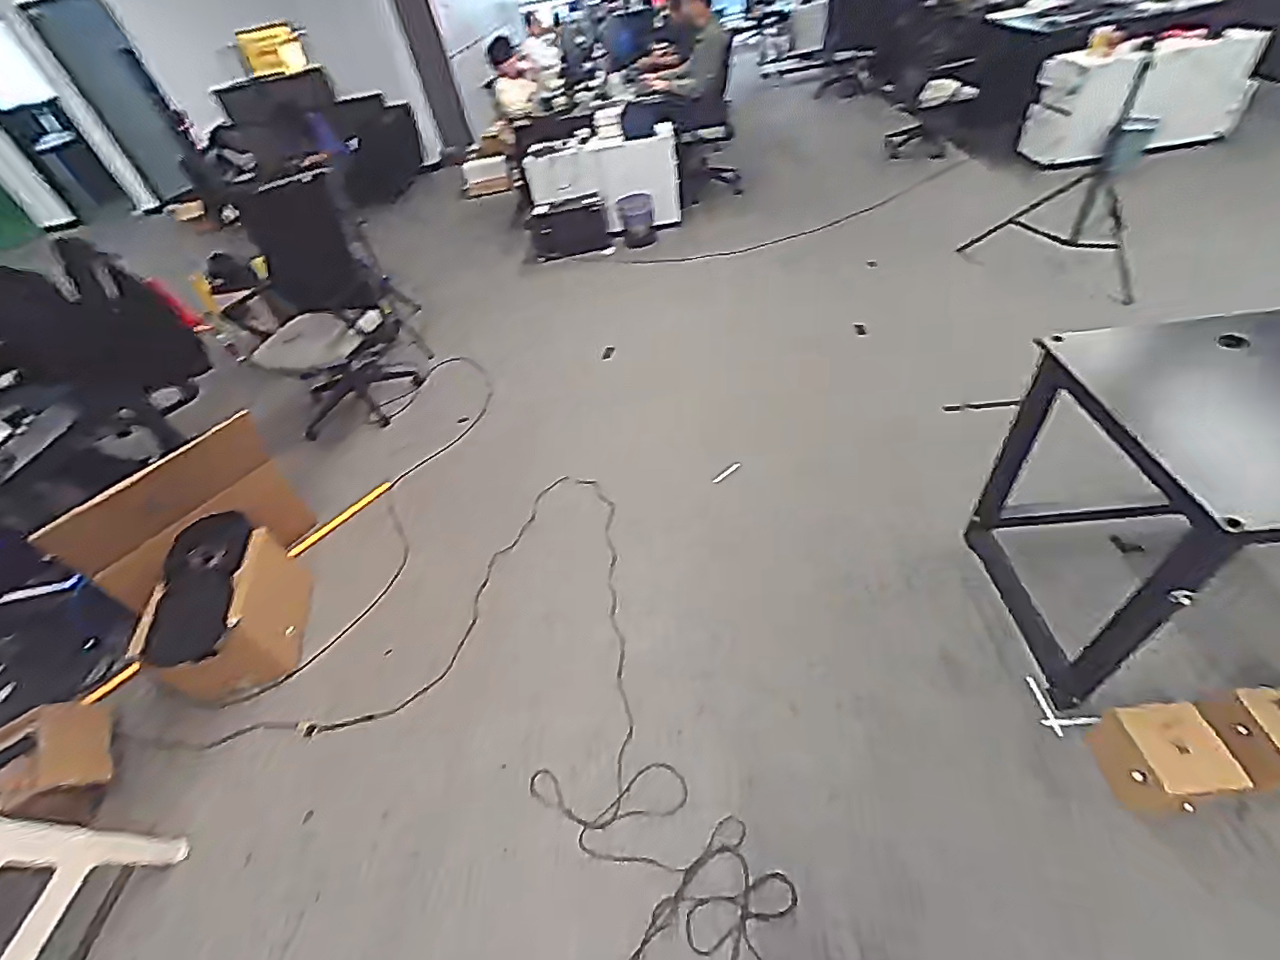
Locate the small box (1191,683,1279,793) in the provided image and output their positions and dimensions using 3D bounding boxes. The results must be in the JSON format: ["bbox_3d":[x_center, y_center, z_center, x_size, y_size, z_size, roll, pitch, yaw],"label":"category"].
[{"bbox_3d":[1.405,0.571,1.198,0.168,0.176,0.179,-7,46,6],"label":"small box"}]
